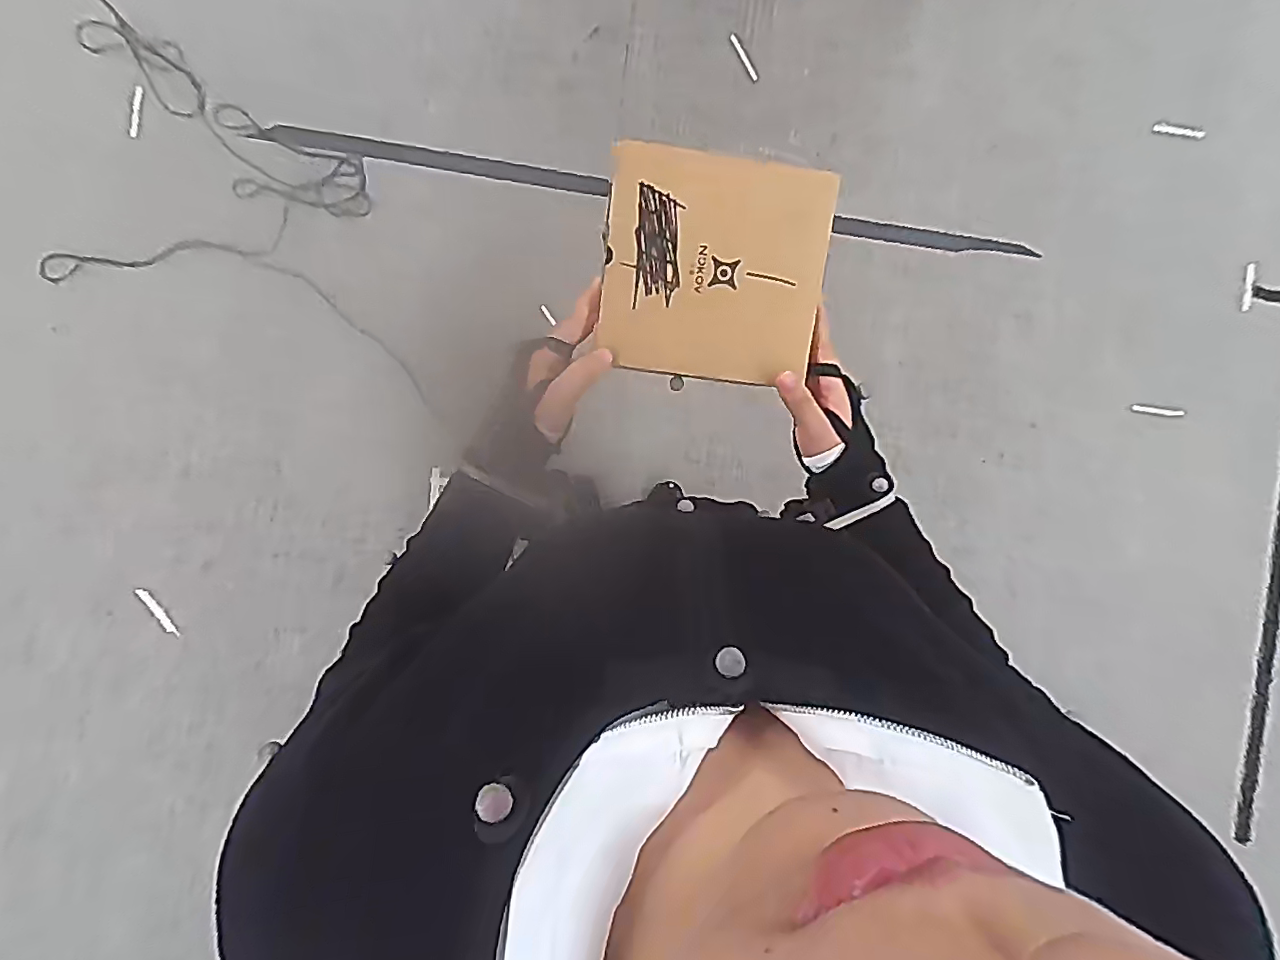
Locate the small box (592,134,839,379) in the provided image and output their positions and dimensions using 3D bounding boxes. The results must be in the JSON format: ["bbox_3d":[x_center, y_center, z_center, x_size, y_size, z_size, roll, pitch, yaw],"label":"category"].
[{"bbox_3d":[0.053,-0.185,0.500,0.179,0.176,0.168,6,101,-5],"label":"small box"}]

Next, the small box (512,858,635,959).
[{"bbox_3d":[-0.100,0.708,0.796,0.168,0.176,0.179,7,89,-3],"label":"small box"}]
